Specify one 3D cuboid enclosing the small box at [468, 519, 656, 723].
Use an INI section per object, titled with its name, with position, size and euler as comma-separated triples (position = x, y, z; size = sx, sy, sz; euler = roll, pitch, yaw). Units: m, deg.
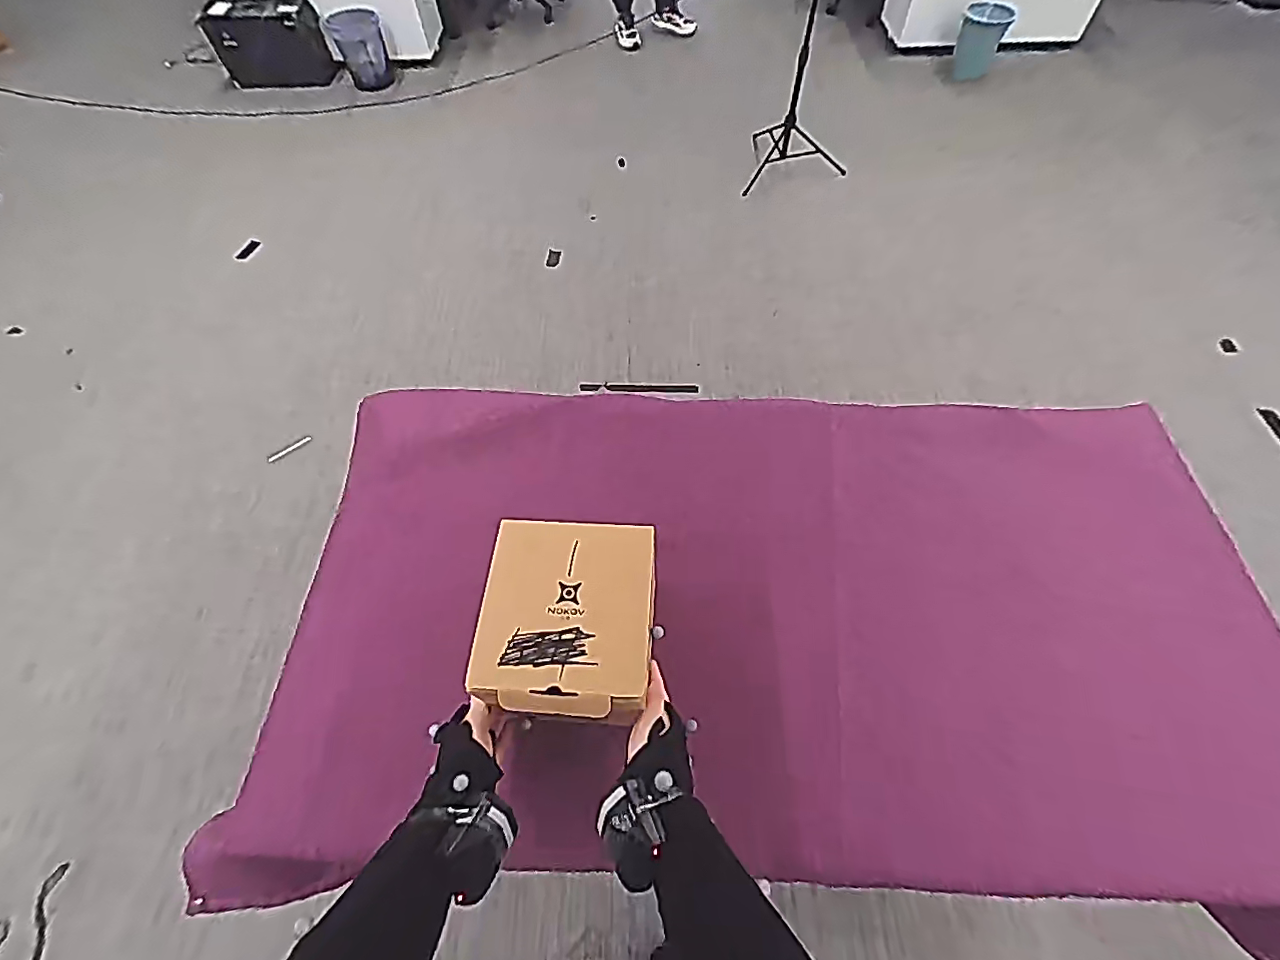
[small box]
position = -0.069, 0.161, 0.596
size = 0.168, 0.176, 0.179
euler = 3, 58, 3
